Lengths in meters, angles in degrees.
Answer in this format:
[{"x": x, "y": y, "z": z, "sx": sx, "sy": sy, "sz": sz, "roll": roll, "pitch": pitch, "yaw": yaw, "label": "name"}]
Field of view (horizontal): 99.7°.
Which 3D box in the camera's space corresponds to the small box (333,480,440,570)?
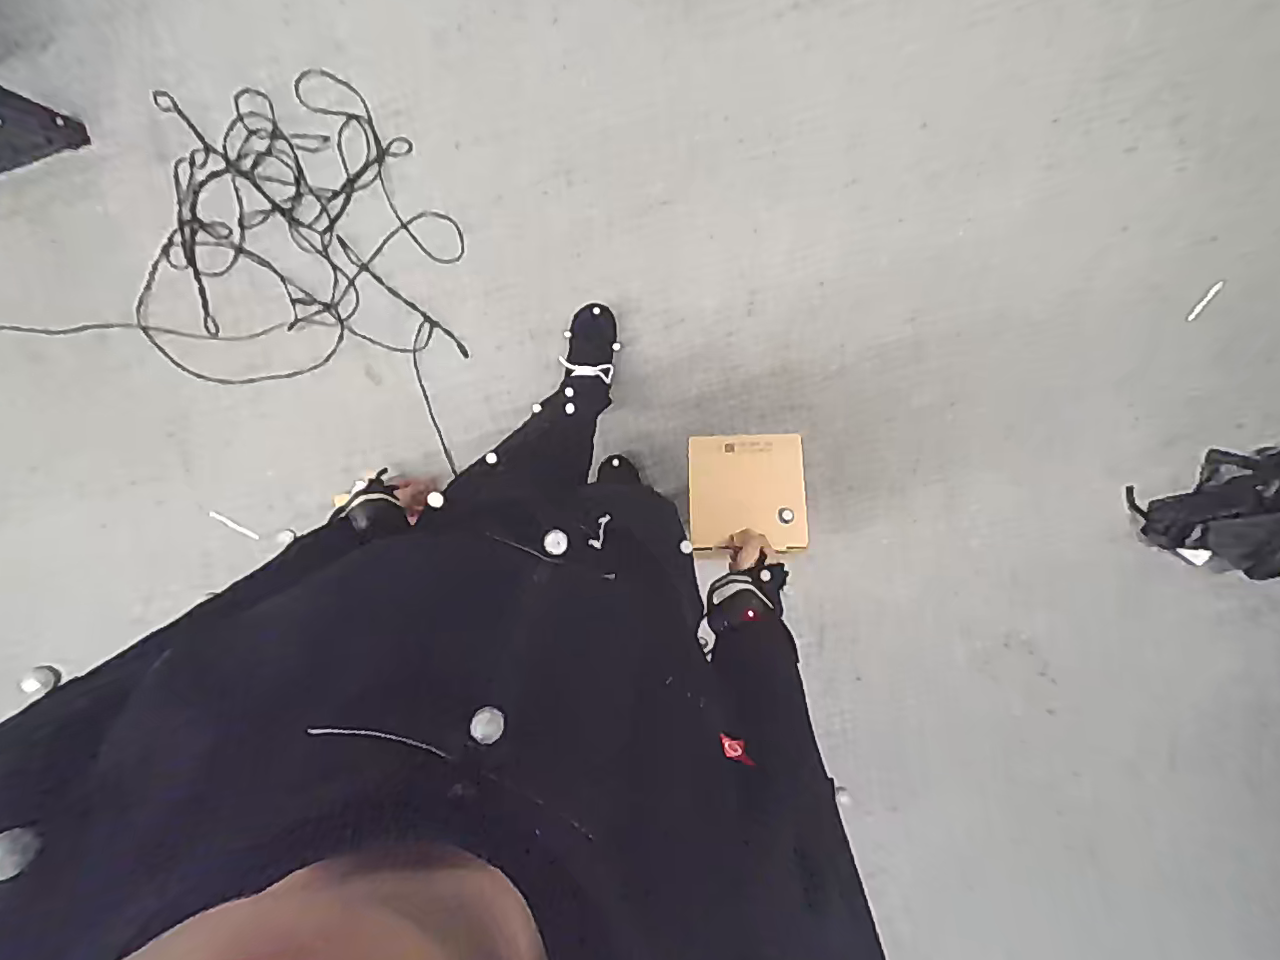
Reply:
[{"x": -0.597, "y": 0.104, "z": 1.297, "sx": 0.168, "sy": 0.176, "sz": 0.179, "roll": -5, "pitch": 97, "yaw": 3, "label": "small box"}]
